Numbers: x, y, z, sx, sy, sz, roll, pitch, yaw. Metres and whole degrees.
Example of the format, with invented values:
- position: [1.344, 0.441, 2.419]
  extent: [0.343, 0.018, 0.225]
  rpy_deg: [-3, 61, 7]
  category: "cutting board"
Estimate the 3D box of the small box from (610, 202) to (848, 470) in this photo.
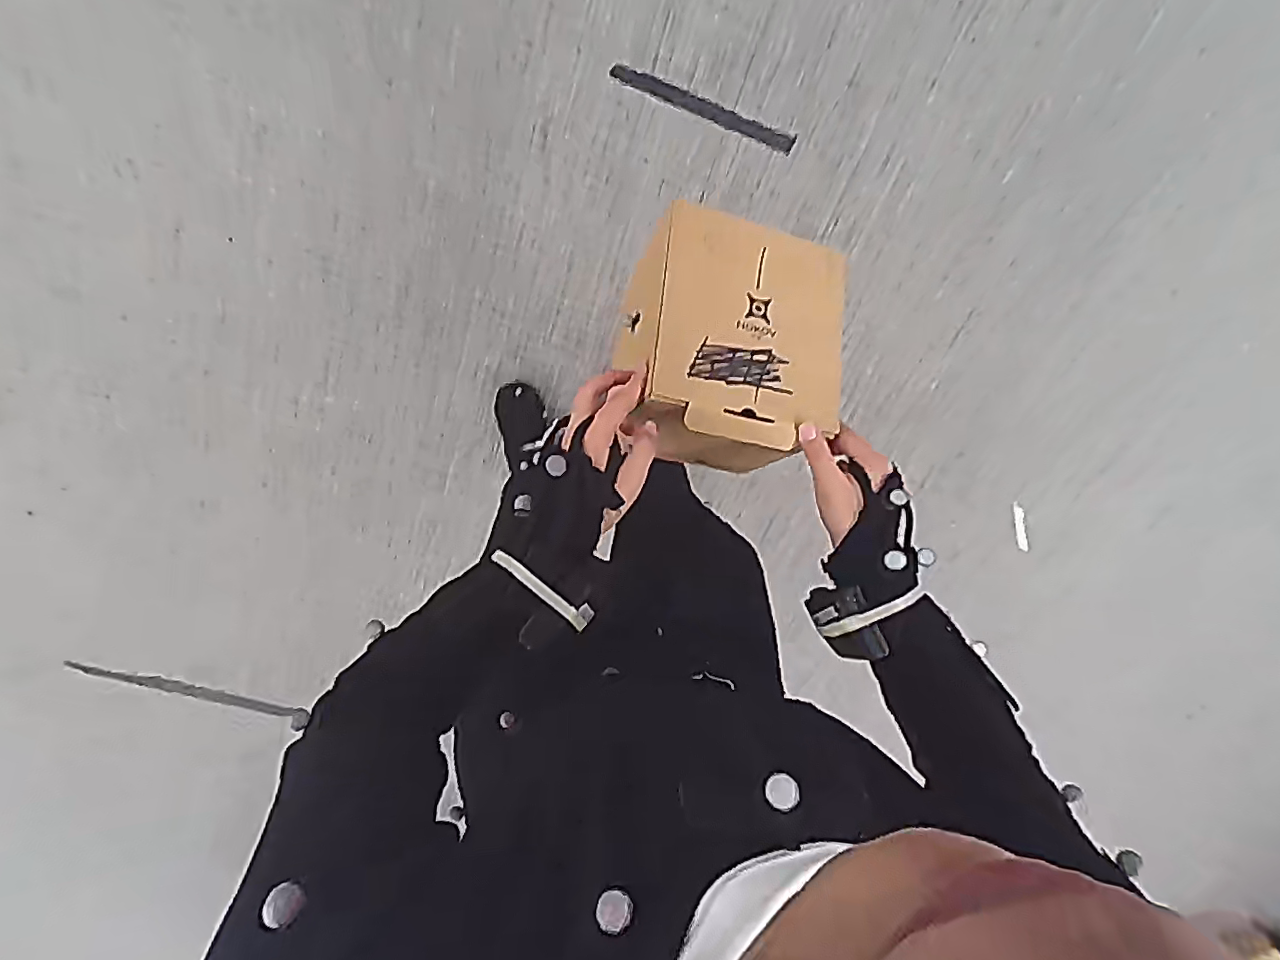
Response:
- position: [0.073, -0.116, 0.516]
  extent: [0.168, 0.176, 0.179]
  rpy_deg: [10, 77, -15]
  category: "small box"
